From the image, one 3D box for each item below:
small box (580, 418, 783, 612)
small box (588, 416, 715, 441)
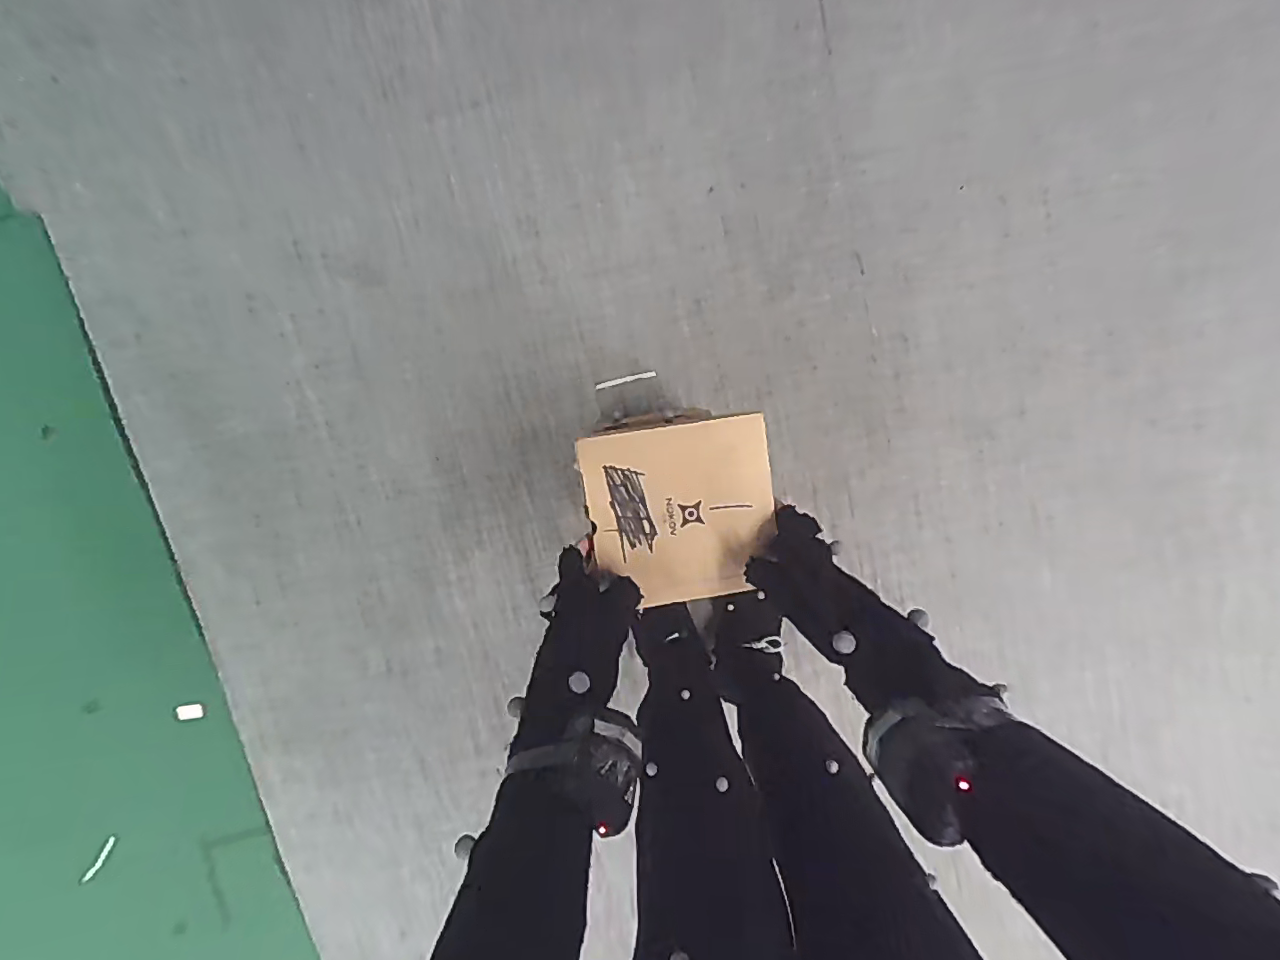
[{"bbox_3d":[0.037,0.027,0.586,0.179,0.176,0.168,-9,97,-3],"label":"small box"},{"bbox_3d":[0.025,0.007,0.761,0.168,0.176,0.179,-10,99,2],"label":"small box"}]
